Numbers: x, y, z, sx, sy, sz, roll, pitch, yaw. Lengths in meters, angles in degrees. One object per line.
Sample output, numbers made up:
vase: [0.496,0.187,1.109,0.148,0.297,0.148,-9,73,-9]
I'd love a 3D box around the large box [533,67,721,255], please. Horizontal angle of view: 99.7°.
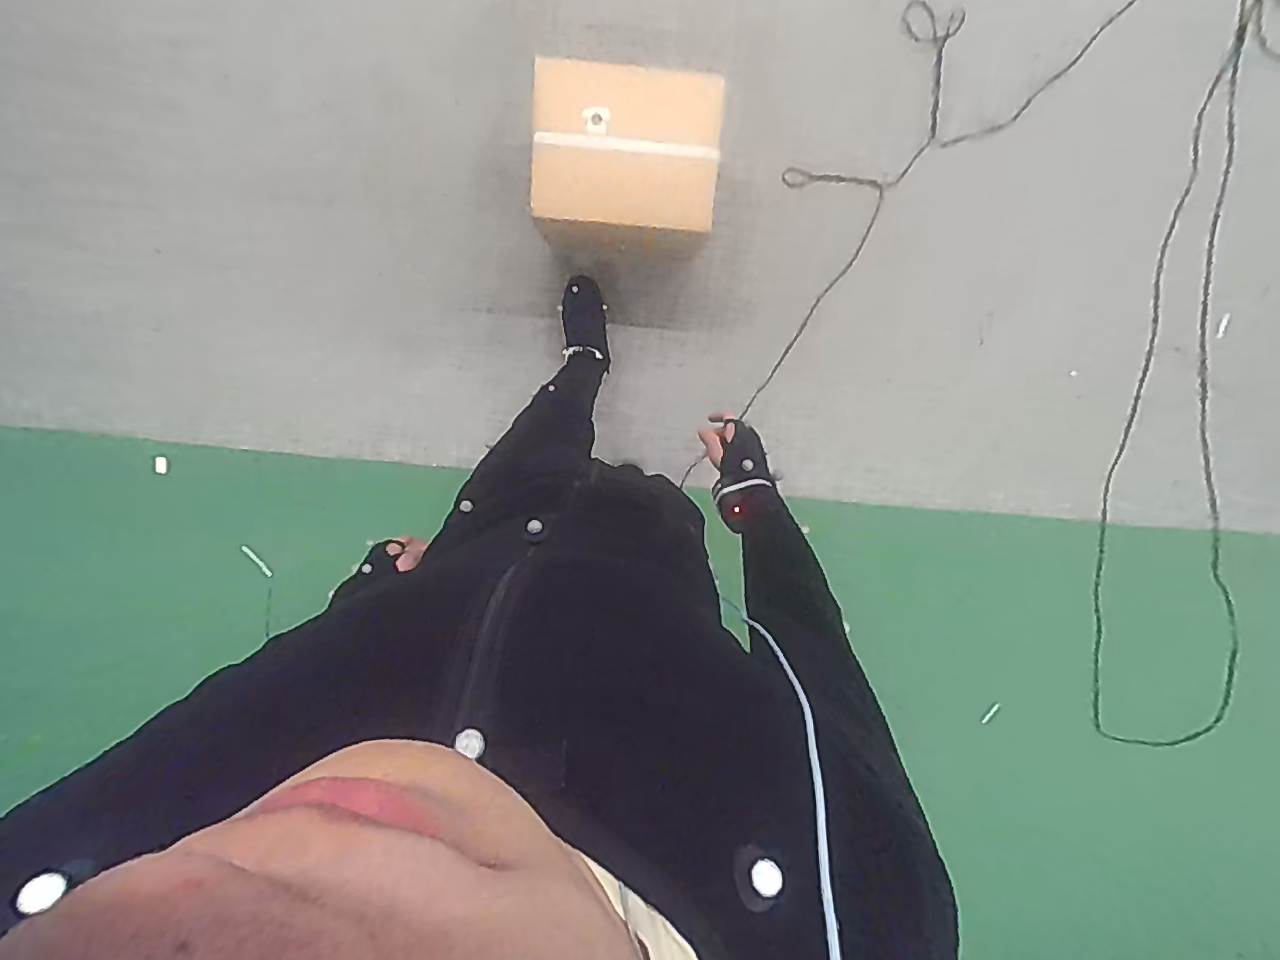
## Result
large box: [-0.031,-0.747,1.321,0.408,0.320,0.320,4,101,-1]
